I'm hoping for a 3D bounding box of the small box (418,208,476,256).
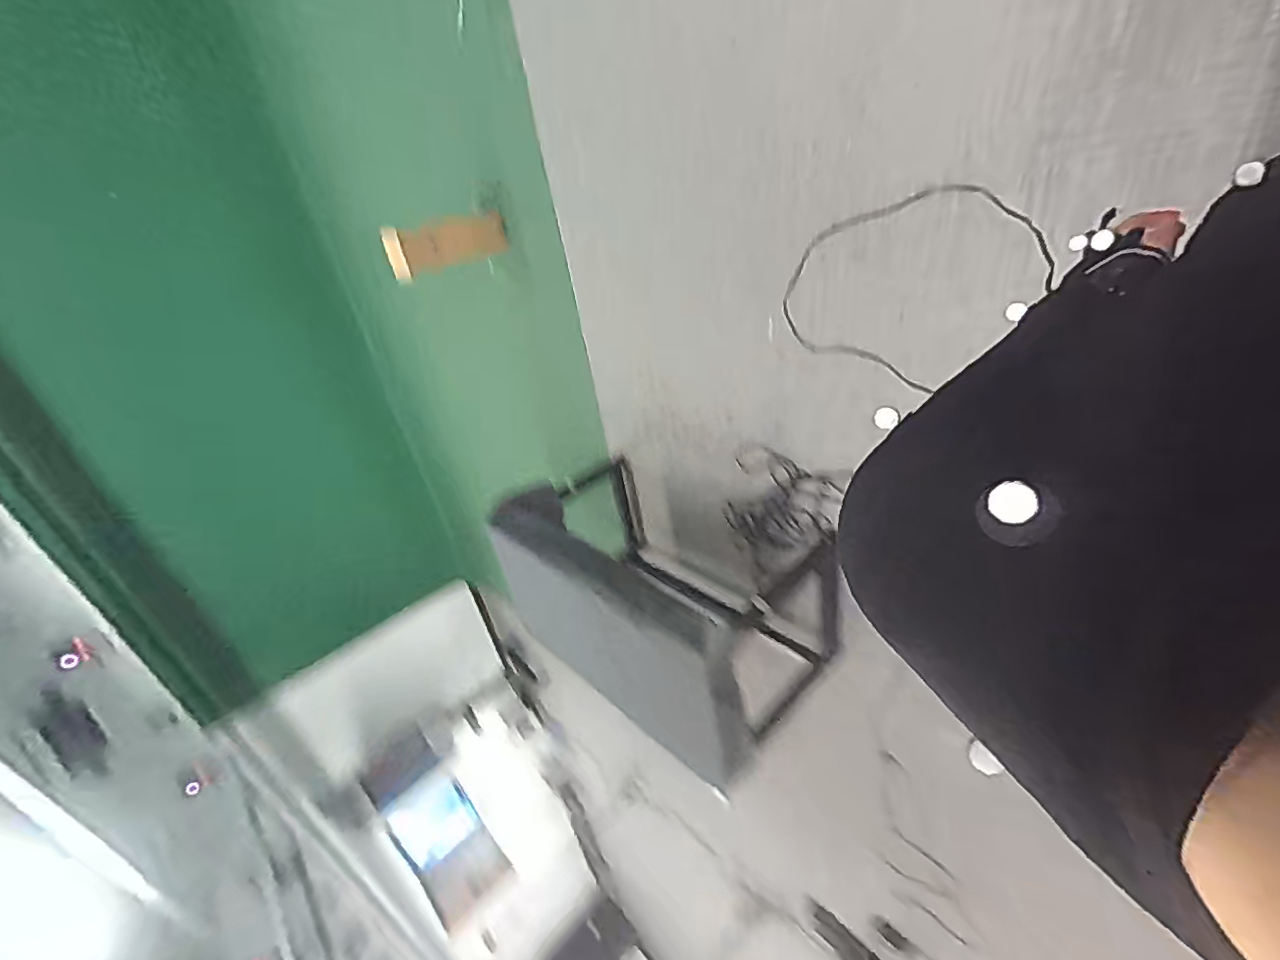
[{"bbox_3d":[-0.841,-1.093,2.381,0.179,0.176,0.168,24,135,42],"label":"small box"}]

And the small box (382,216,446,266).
[{"bbox_3d":[-0.954,-1.014,2.294,0.179,0.176,0.168,21,134,43],"label":"small box"}]
